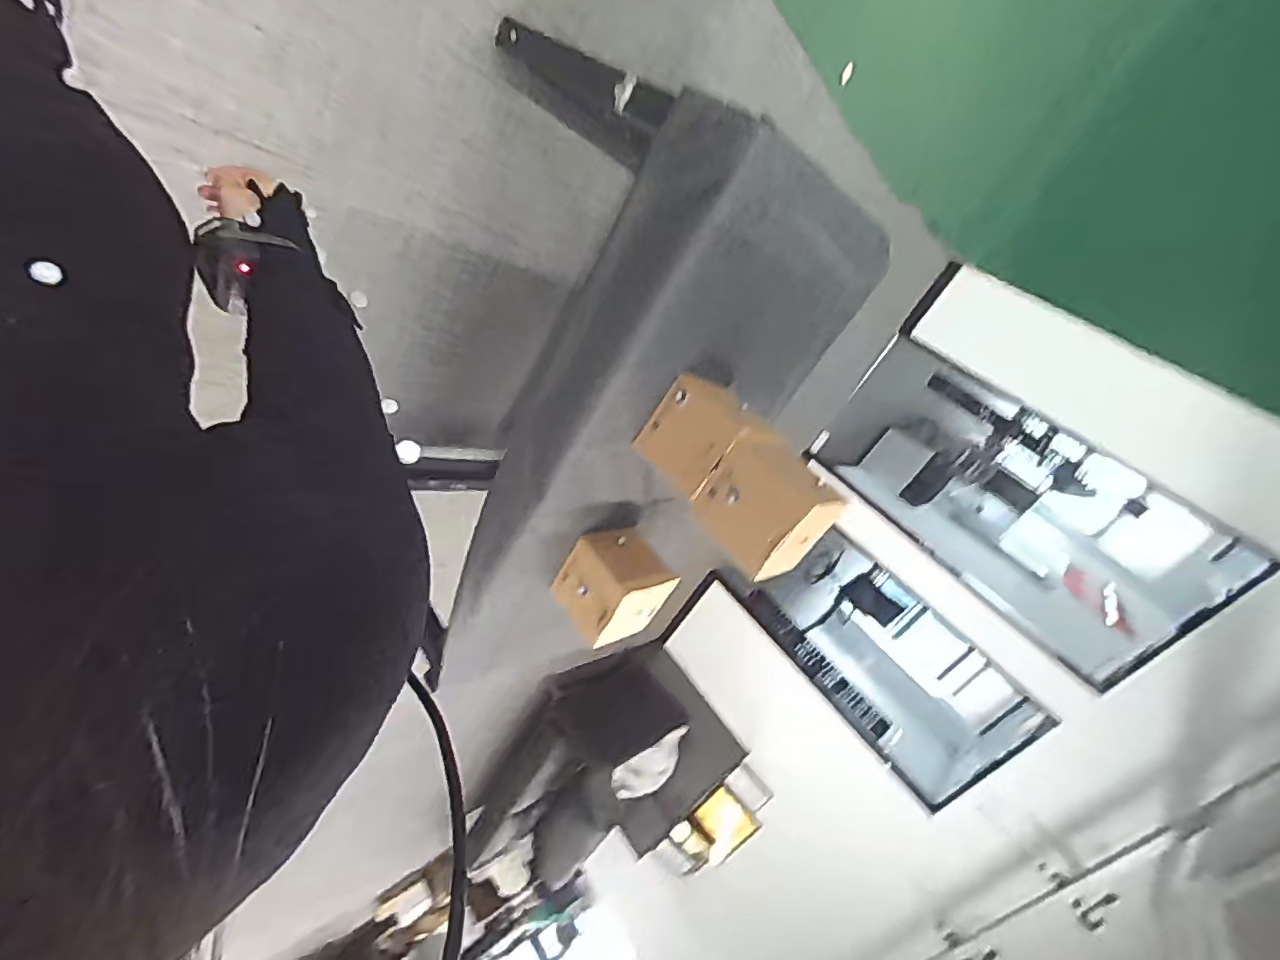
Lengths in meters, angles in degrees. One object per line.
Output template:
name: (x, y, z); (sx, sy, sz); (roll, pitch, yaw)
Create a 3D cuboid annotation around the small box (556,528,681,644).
small box: (-0.053, 0.221, 1.170); (0.179, 0.176, 0.168); (-2, 131, -49)

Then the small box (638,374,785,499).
small box: (0.129, -0.077, 1.004); (0.179, 0.176, 0.168); (3, 127, -54)

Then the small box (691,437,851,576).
small box: (0.225, 0.040, 0.937); (0.179, 0.176, 0.168); (0, 129, -51)
